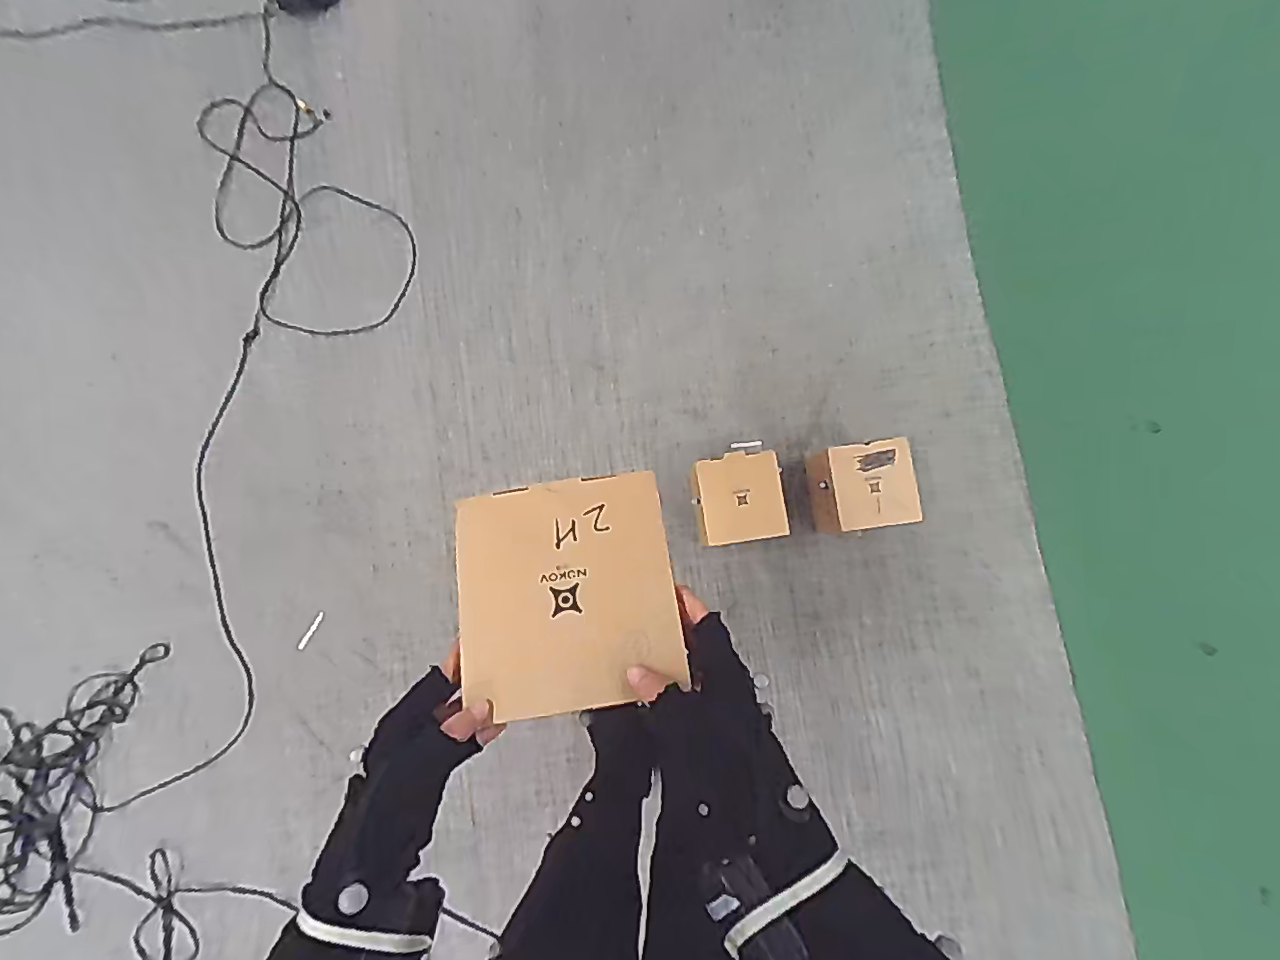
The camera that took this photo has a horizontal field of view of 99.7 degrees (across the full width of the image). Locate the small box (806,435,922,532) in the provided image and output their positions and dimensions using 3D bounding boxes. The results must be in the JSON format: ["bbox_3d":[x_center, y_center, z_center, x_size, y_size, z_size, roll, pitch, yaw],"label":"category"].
[{"bbox_3d":[0.469,0.014,1.157,0.168,0.176,0.179,-8,84,1],"label":"small box"}]

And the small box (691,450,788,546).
[{"bbox_3d":[0.207,0.043,1.162,0.168,0.176,0.179,-9,83,0],"label":"small box"}]
